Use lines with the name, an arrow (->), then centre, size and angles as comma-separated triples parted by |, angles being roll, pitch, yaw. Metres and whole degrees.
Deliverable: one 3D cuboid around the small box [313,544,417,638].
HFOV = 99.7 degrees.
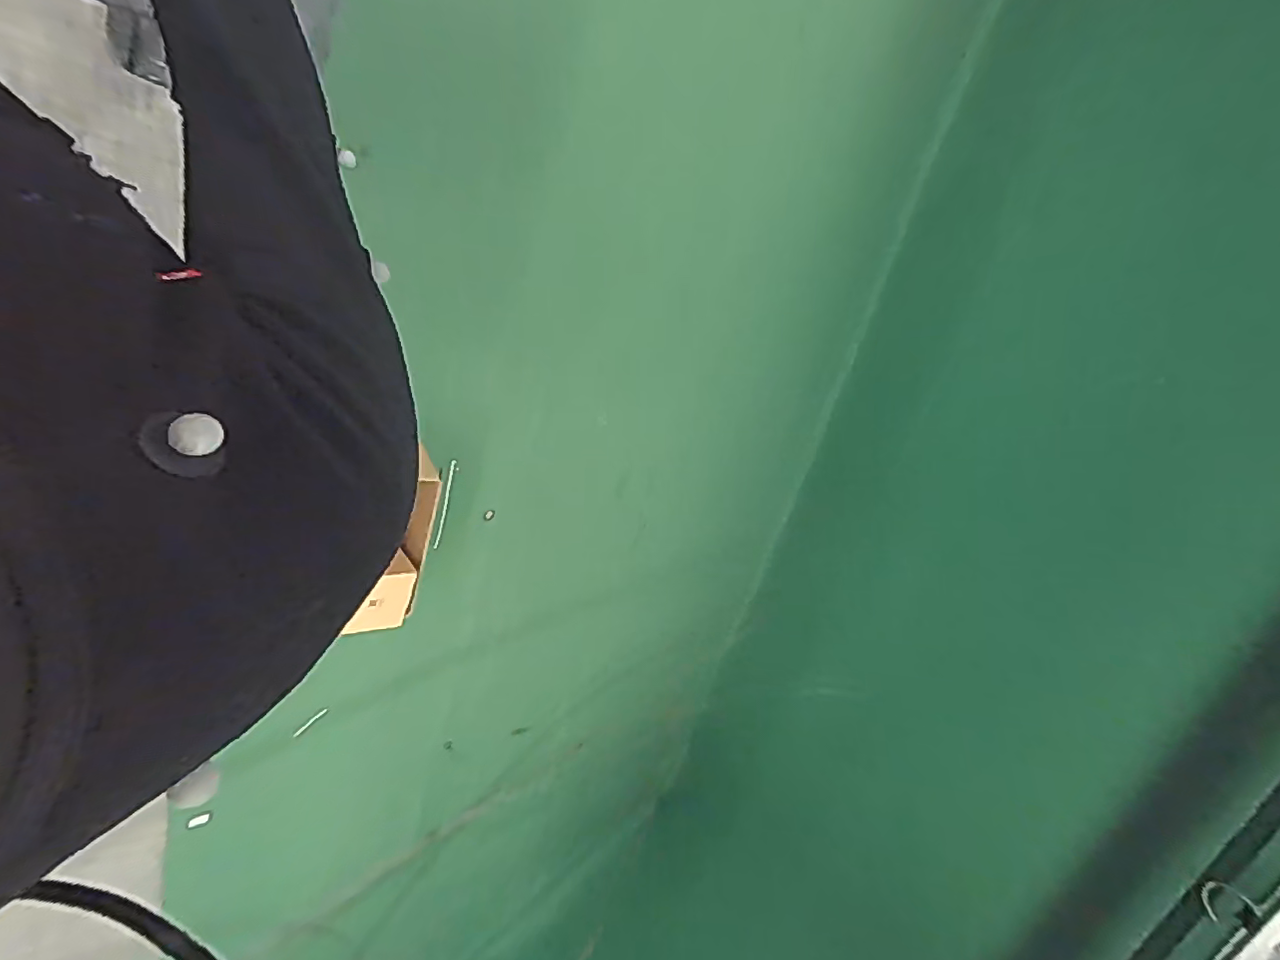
small box -> -0.701, 0.273, 1.368 | 0.179, 0.176, 0.168 | 5, 112, -49
